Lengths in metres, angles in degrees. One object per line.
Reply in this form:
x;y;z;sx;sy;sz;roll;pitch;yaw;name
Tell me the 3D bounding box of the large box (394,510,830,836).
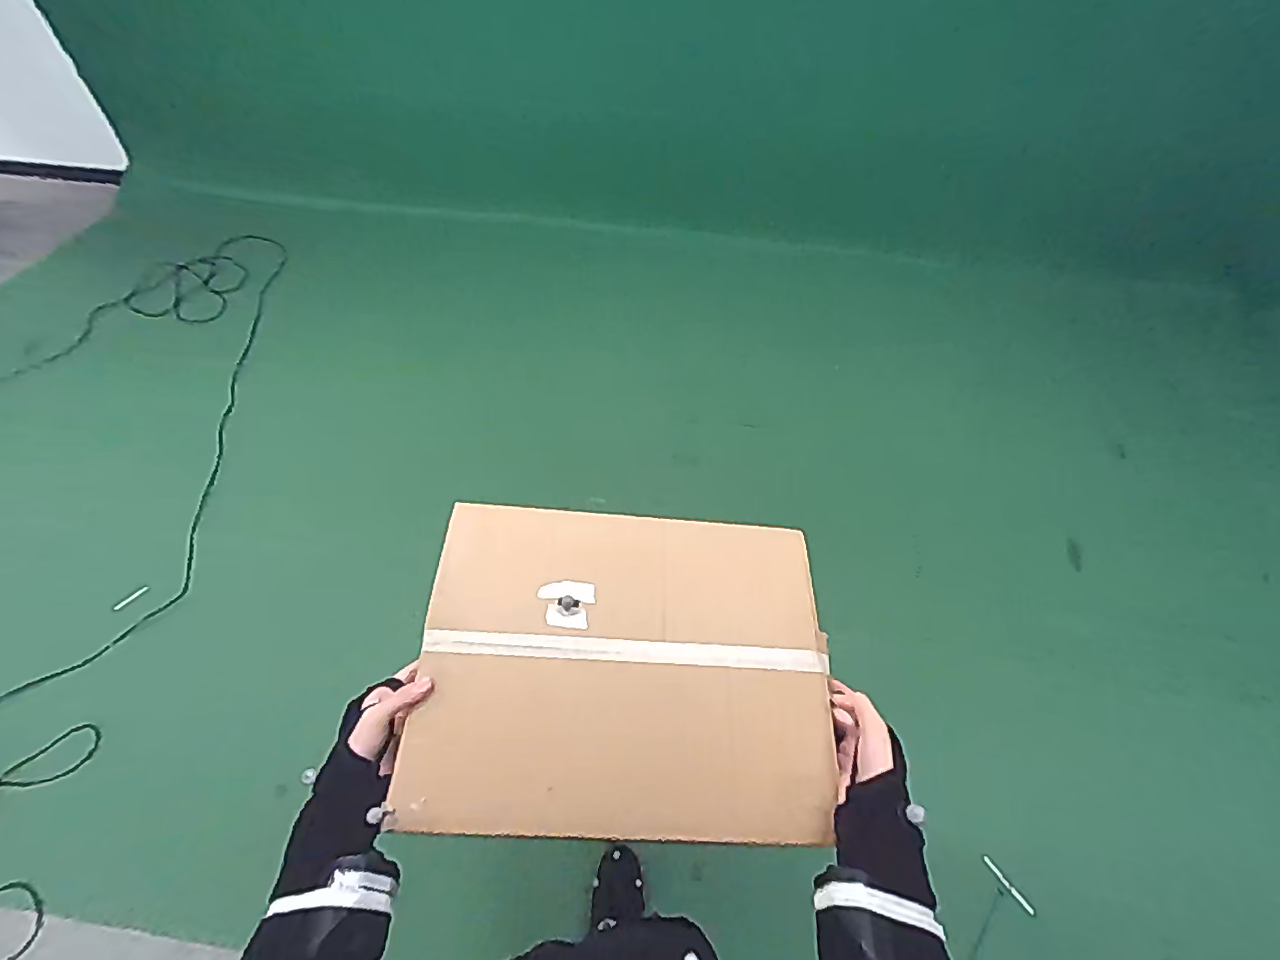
-0.028;0.253;0.688;0.408;0.320;0.320;5;59;-4;large box
